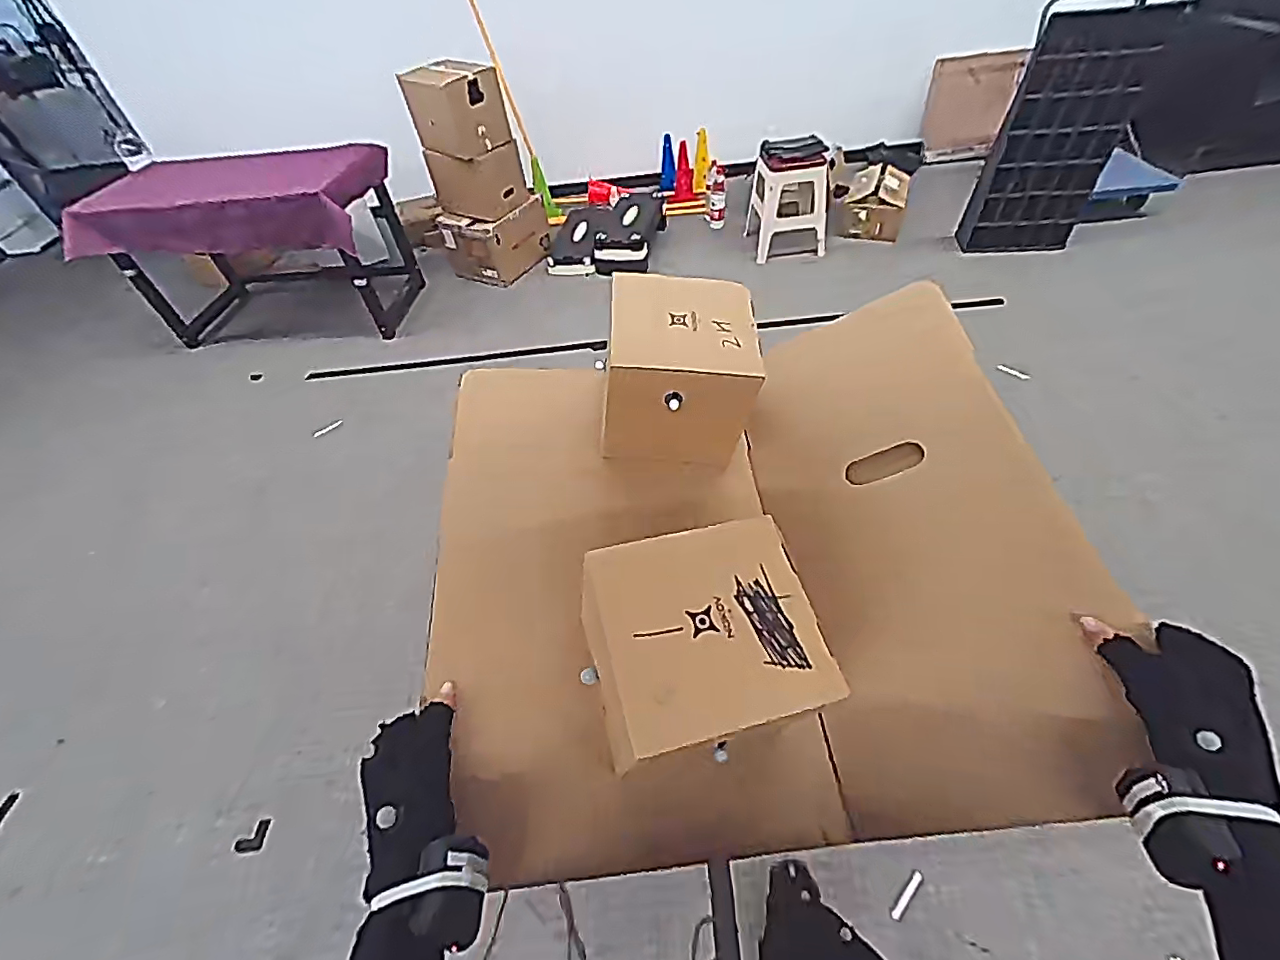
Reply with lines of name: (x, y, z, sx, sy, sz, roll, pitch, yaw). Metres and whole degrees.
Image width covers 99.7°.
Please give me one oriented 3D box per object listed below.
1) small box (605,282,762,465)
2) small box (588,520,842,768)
small box: (0.045, -0.134, 0.712, 0.179, 0.176, 0.168, 4, 56, -5)
small box: (0.052, 0.160, 0.517, 0.179, 0.176, 0.168, -10, 59, -13)
